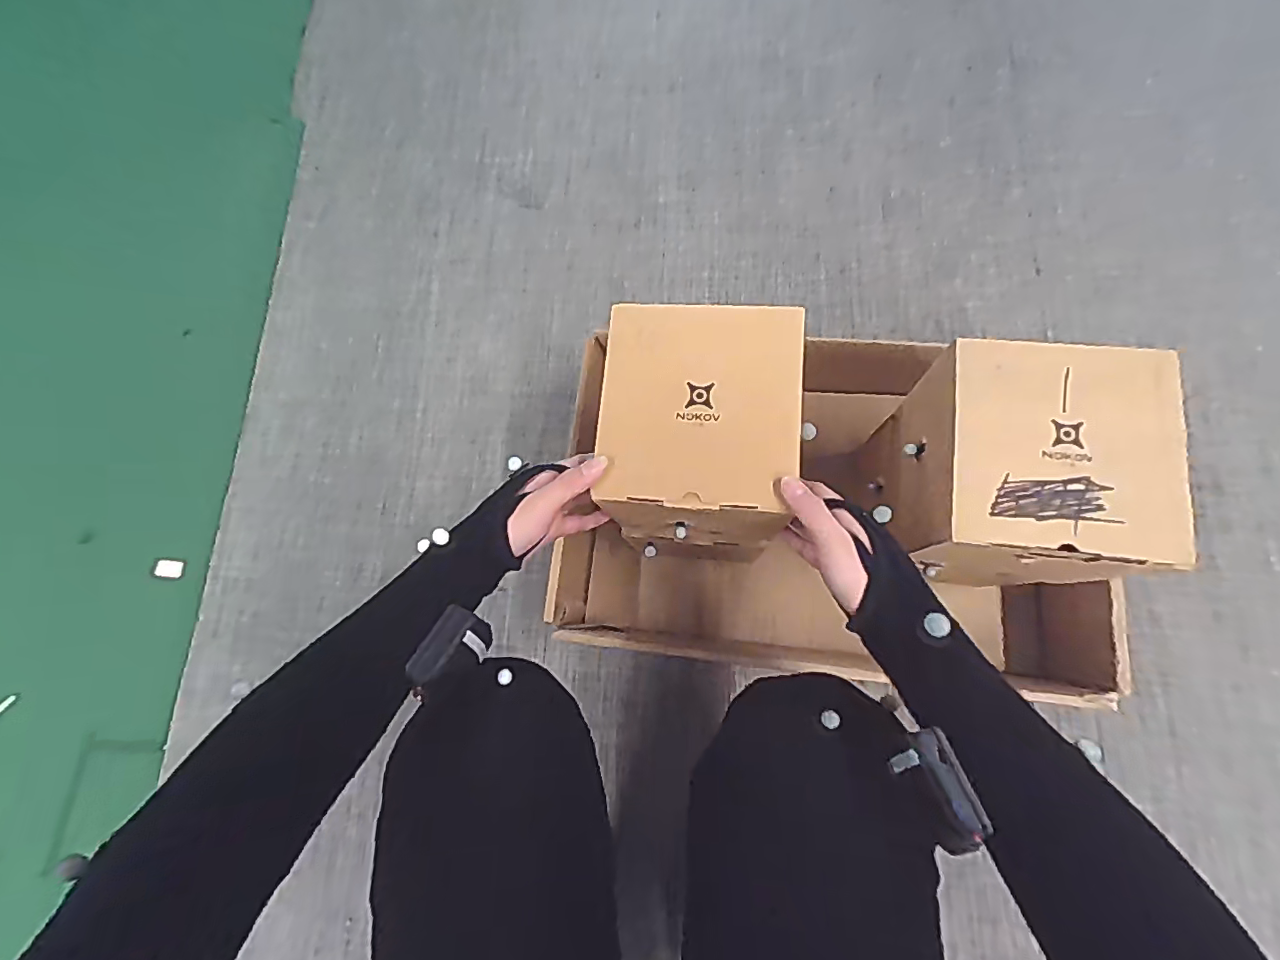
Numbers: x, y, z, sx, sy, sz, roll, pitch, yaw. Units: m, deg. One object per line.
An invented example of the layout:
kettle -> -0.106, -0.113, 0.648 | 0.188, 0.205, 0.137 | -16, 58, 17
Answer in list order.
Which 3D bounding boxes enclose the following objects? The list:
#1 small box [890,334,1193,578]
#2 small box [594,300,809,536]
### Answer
small box -> 0.342, -0.011, 0.497 | 0.168, 0.176, 0.179 | 7, 76, 10
small box -> 0.058, -0.048, 0.518 | 0.168, 0.176, 0.179 | 4, 79, 7
